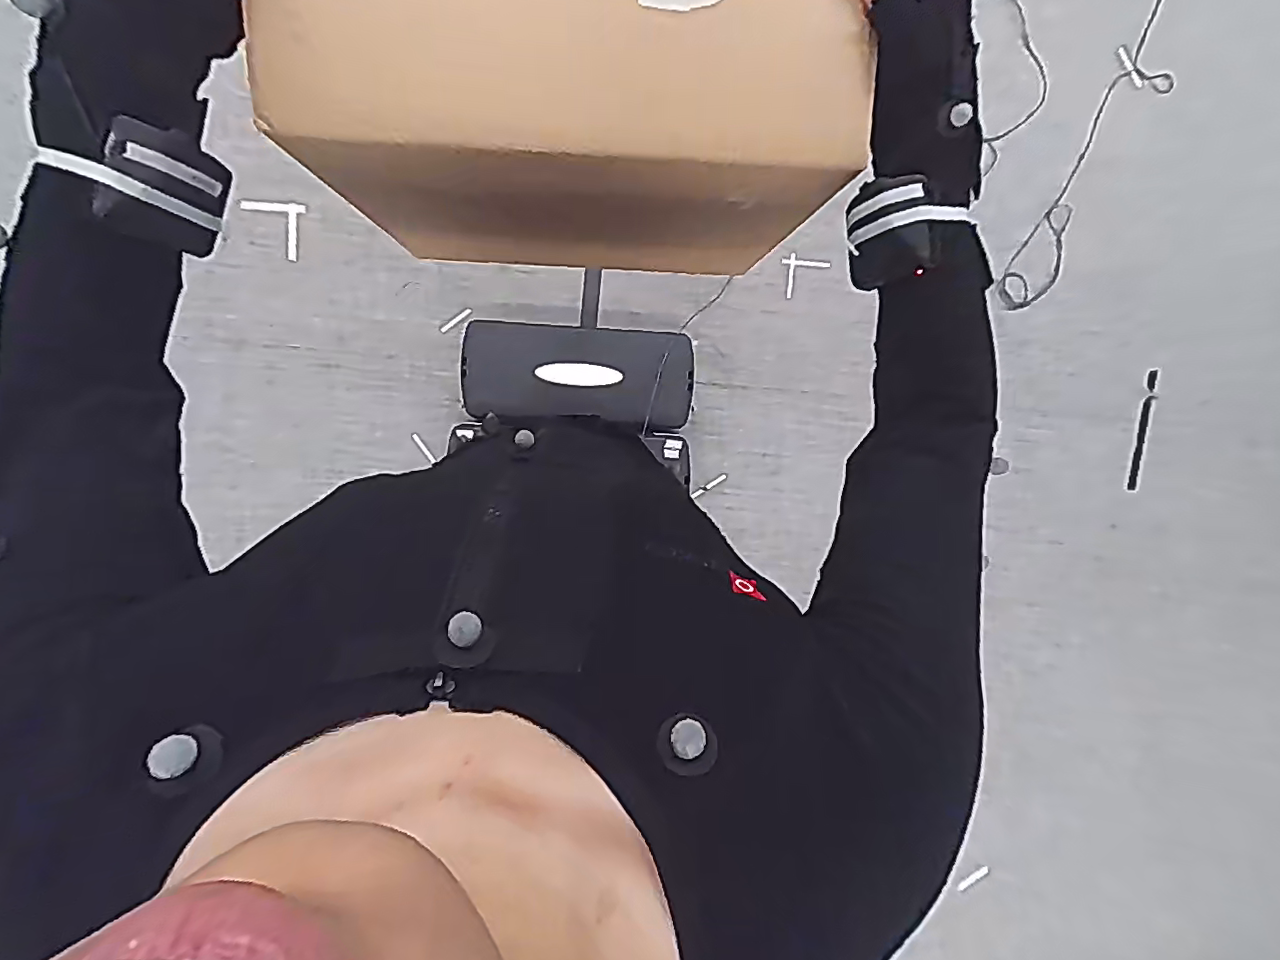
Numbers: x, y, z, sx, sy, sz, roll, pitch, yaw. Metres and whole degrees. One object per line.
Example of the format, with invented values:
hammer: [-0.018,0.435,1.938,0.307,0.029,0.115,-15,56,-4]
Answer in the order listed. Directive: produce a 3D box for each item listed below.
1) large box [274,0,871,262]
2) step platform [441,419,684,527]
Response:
large box: [-0.050,-0.402,0.498,0.408,0.320,0.320,0,99,-6]
step platform: [-0.215,-0.020,1.568,0.684,0.204,0.286,2,95,-3]
